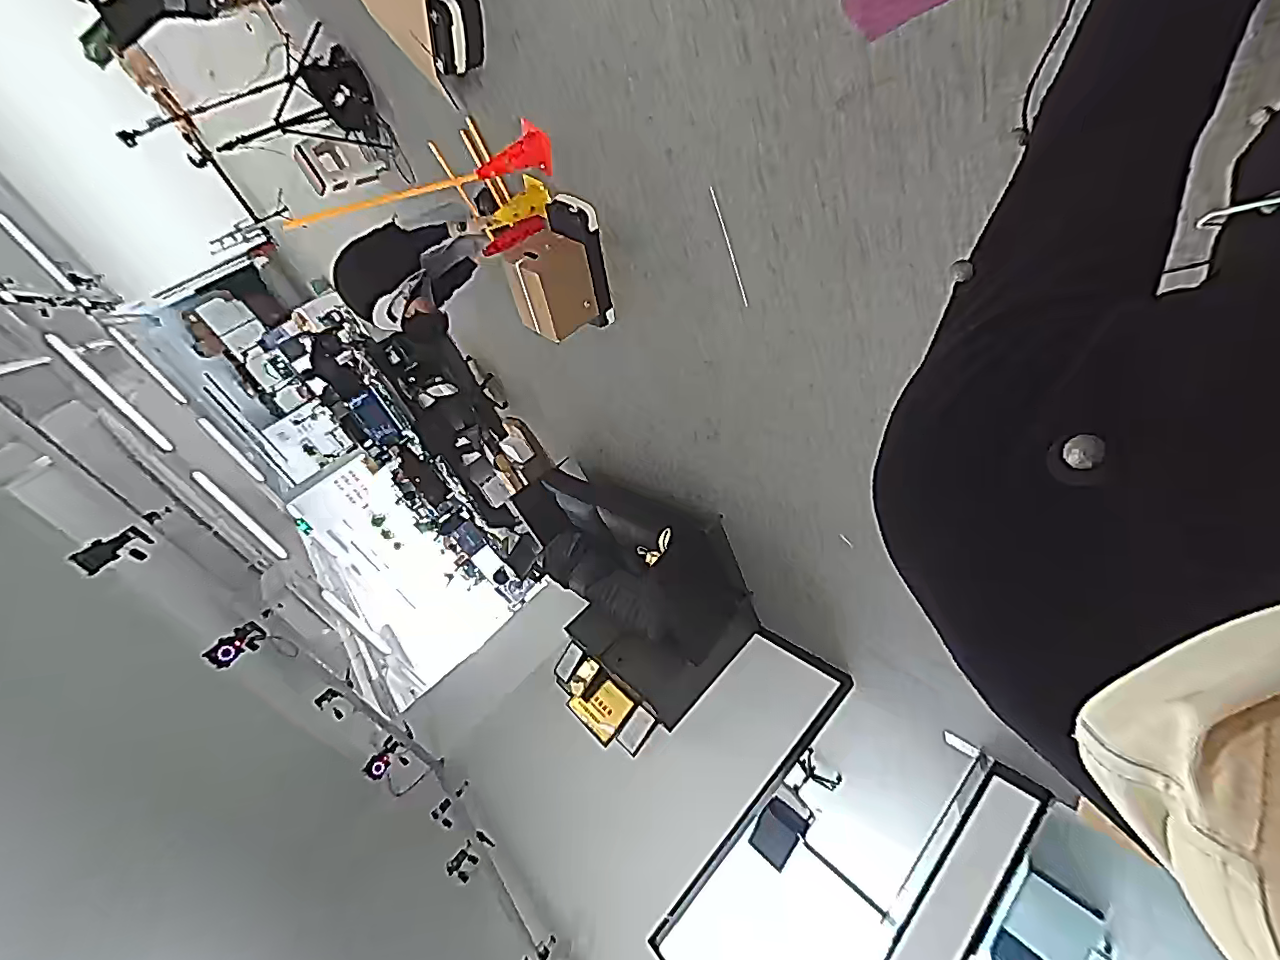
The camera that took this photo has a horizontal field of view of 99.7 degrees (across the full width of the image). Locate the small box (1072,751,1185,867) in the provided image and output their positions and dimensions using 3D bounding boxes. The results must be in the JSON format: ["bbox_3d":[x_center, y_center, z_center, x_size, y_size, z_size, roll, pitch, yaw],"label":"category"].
[{"bbox_3d":[1.304,0.872,1.446,0.179,0.176,0.168,25,147,47],"label":"small box"}]

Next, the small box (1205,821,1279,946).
[{"bbox_3d":[1.464,0.942,1.250,0.168,0.176,0.179,22,146,48],"label":"small box"}]
